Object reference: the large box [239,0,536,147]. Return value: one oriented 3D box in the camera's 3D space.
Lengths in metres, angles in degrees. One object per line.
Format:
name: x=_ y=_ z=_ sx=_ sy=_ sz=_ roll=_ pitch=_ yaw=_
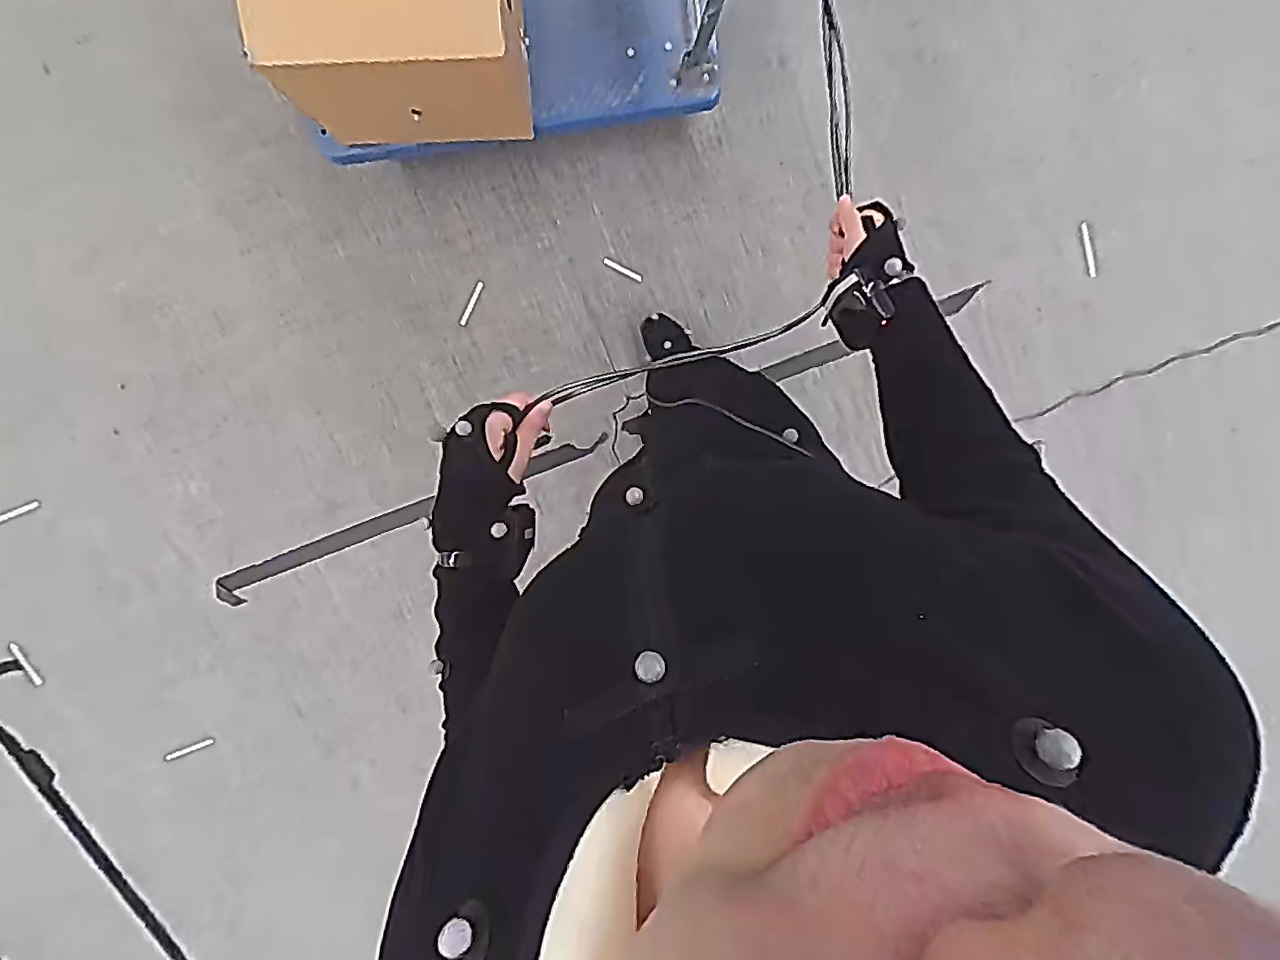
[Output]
large box: x=-0.421 y=-0.829 z=0.966 sx=0.408 sy=0.320 sz=0.320 roll=-4 pitch=101 yaw=-1
